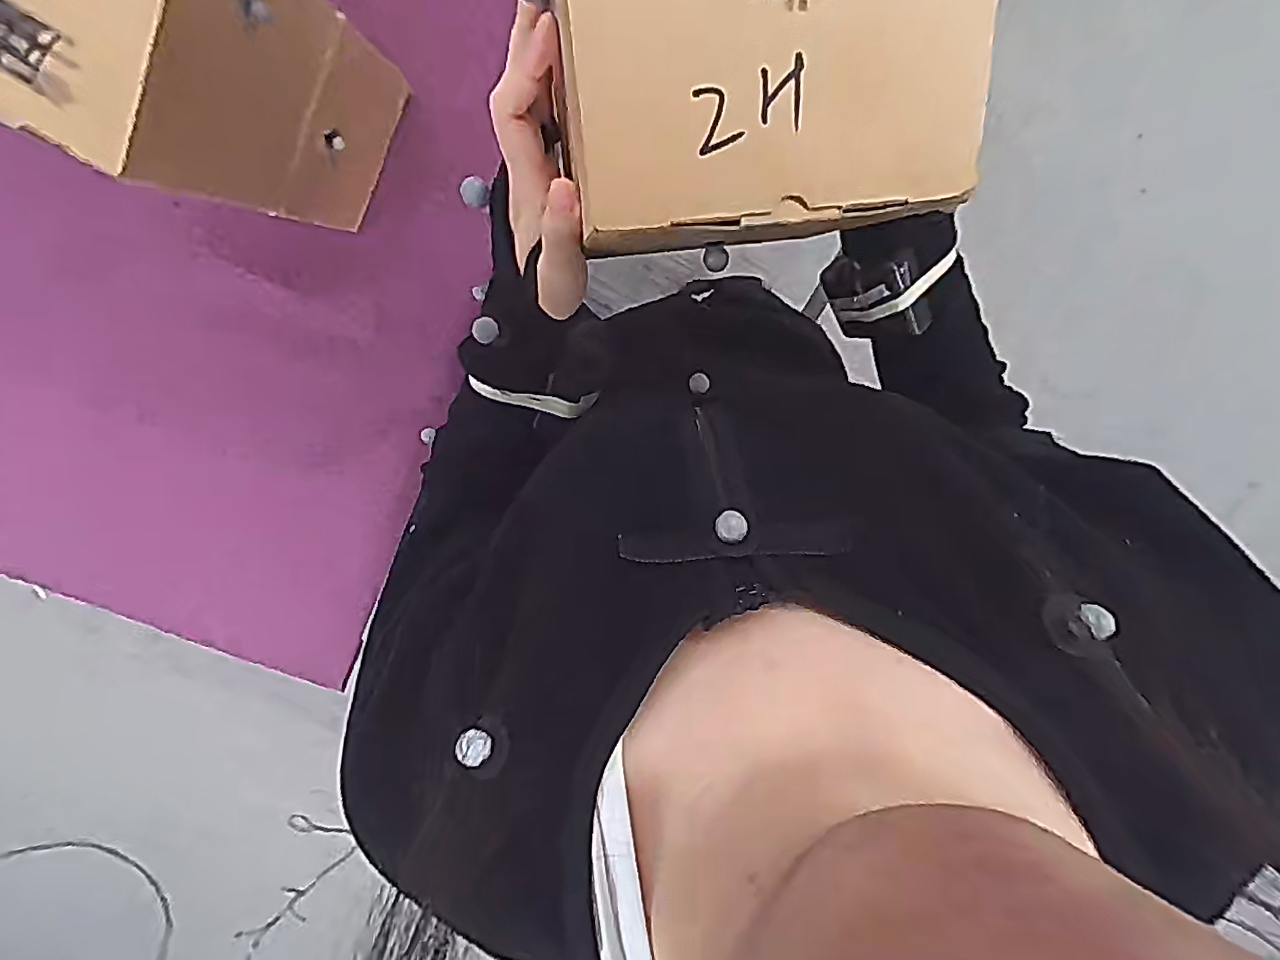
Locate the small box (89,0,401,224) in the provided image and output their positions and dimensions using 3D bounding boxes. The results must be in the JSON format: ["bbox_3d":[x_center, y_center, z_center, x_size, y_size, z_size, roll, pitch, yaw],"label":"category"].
[{"bbox_3d":[-0.364,-0.378,0.532,0.168,0.176,0.179,27,106,-12],"label":"small box"}]

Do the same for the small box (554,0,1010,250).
[{"bbox_3d":[0.046,-0.219,0.265,0.168,0.176,0.179,-7,110,-6],"label":"small box"}]
